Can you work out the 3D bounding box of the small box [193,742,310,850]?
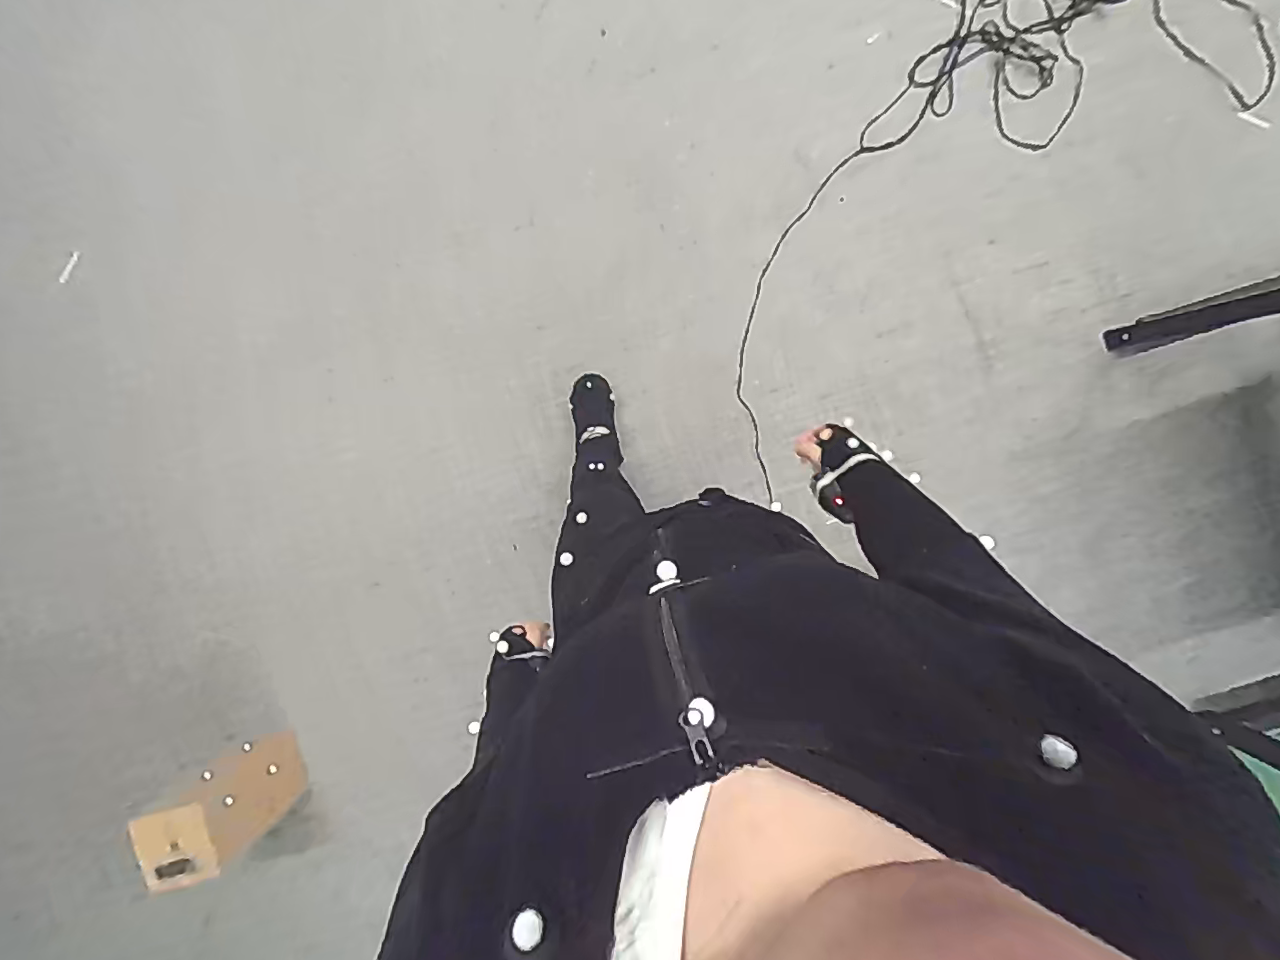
[{"bbox_3d":[-1.013,0.817,1.424,0.168,0.176,0.179,-13,93,0],"label":"small box"}]
